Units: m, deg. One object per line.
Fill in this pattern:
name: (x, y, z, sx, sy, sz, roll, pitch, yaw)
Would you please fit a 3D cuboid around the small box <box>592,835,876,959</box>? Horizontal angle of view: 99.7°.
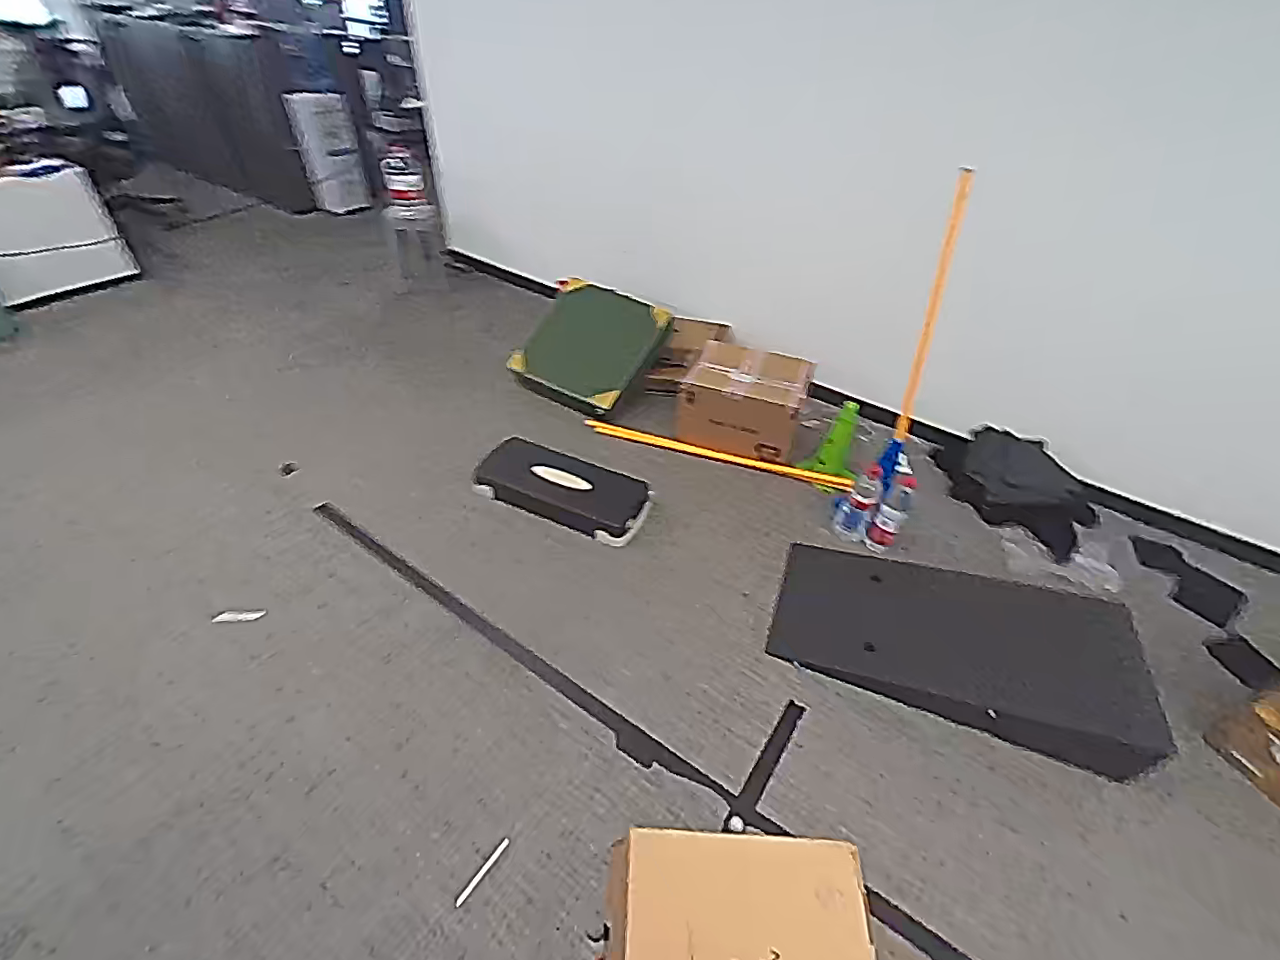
small box: (0.058, 0.369, 0.399, 0.179, 0.176, 0.168, 7, 52, -5)
